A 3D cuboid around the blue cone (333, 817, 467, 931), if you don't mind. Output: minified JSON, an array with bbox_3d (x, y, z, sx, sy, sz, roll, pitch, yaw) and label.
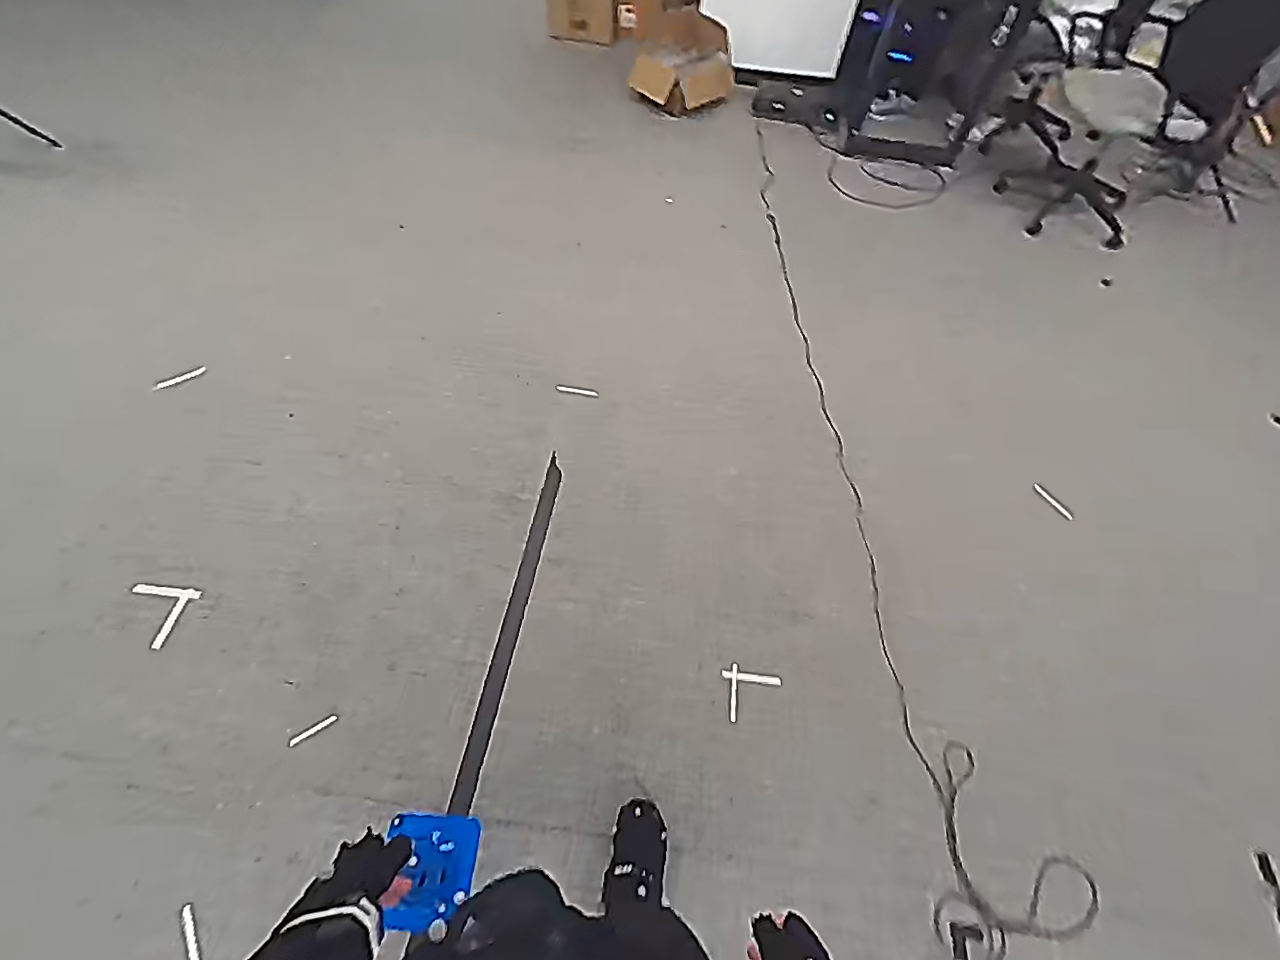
[{"bbox_3d":[-0.464,0.739,1.005,0.192,0.380,0.193,6,57,1],"label":"blue cone"}]
